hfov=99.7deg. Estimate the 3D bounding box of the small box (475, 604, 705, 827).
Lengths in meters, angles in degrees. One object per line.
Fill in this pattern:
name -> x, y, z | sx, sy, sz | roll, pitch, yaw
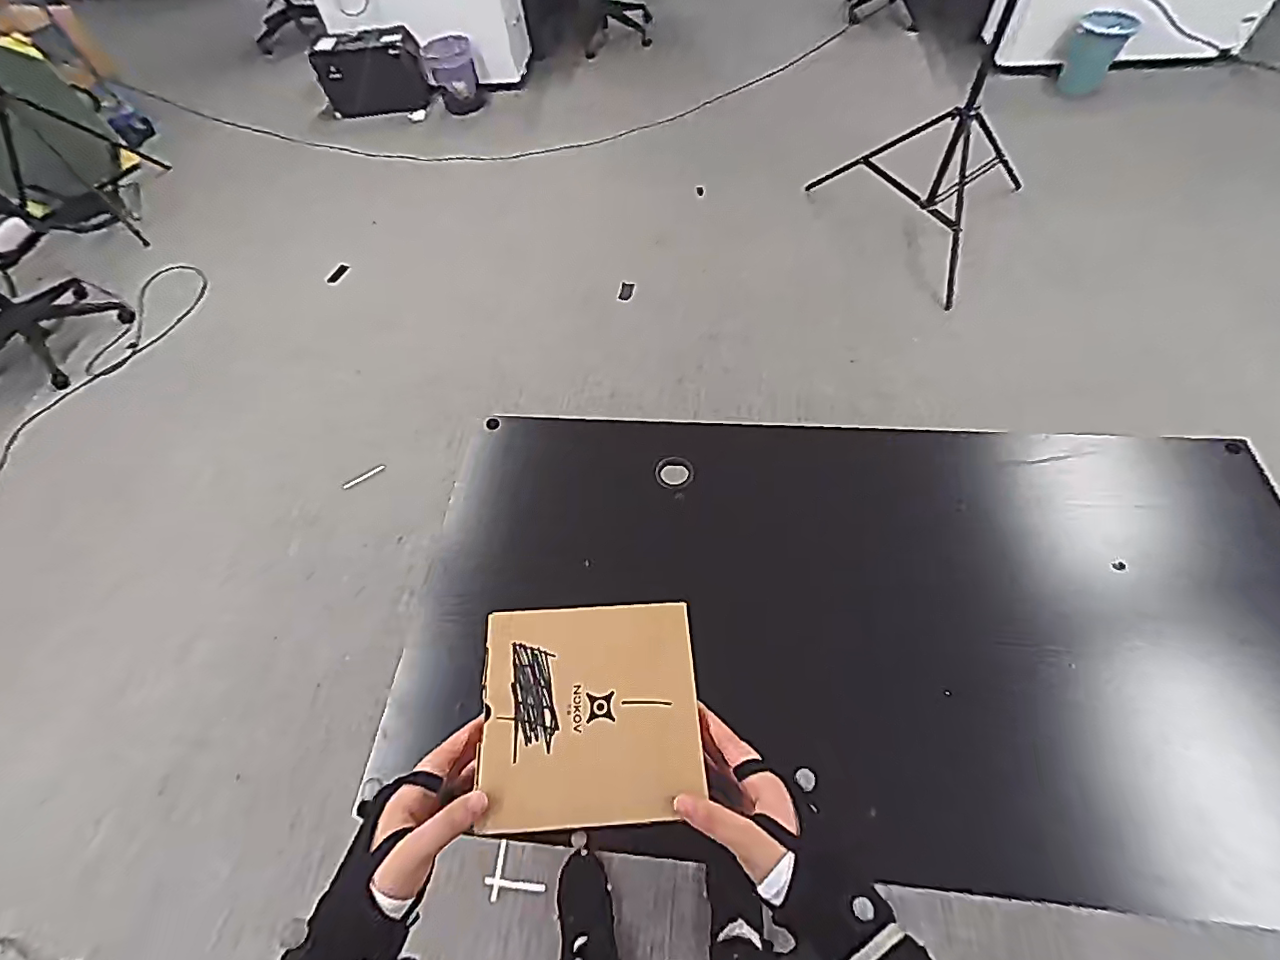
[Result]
small box -> -0.041, 0.227, 0.511 | 0.179, 0.176, 0.168 | -2, 58, -3
